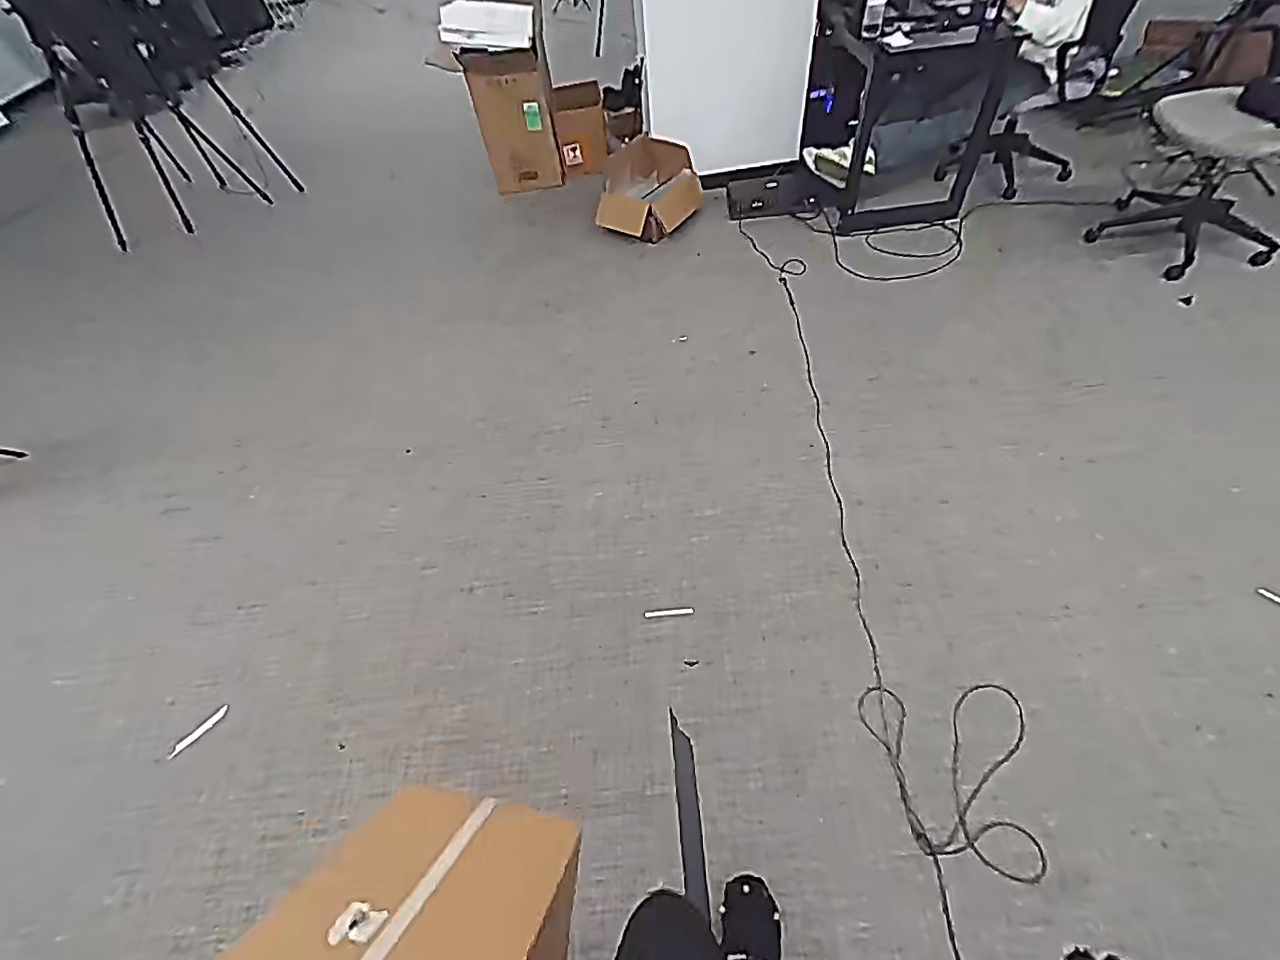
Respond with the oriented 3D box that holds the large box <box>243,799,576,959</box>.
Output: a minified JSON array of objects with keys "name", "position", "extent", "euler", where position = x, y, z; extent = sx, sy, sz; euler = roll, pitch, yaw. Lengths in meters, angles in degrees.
[{"name":"large box","position":[-0.297,0.706,0.700],"extent":[0.320,0.408,0.320],"euler":[6,91,10]}]
